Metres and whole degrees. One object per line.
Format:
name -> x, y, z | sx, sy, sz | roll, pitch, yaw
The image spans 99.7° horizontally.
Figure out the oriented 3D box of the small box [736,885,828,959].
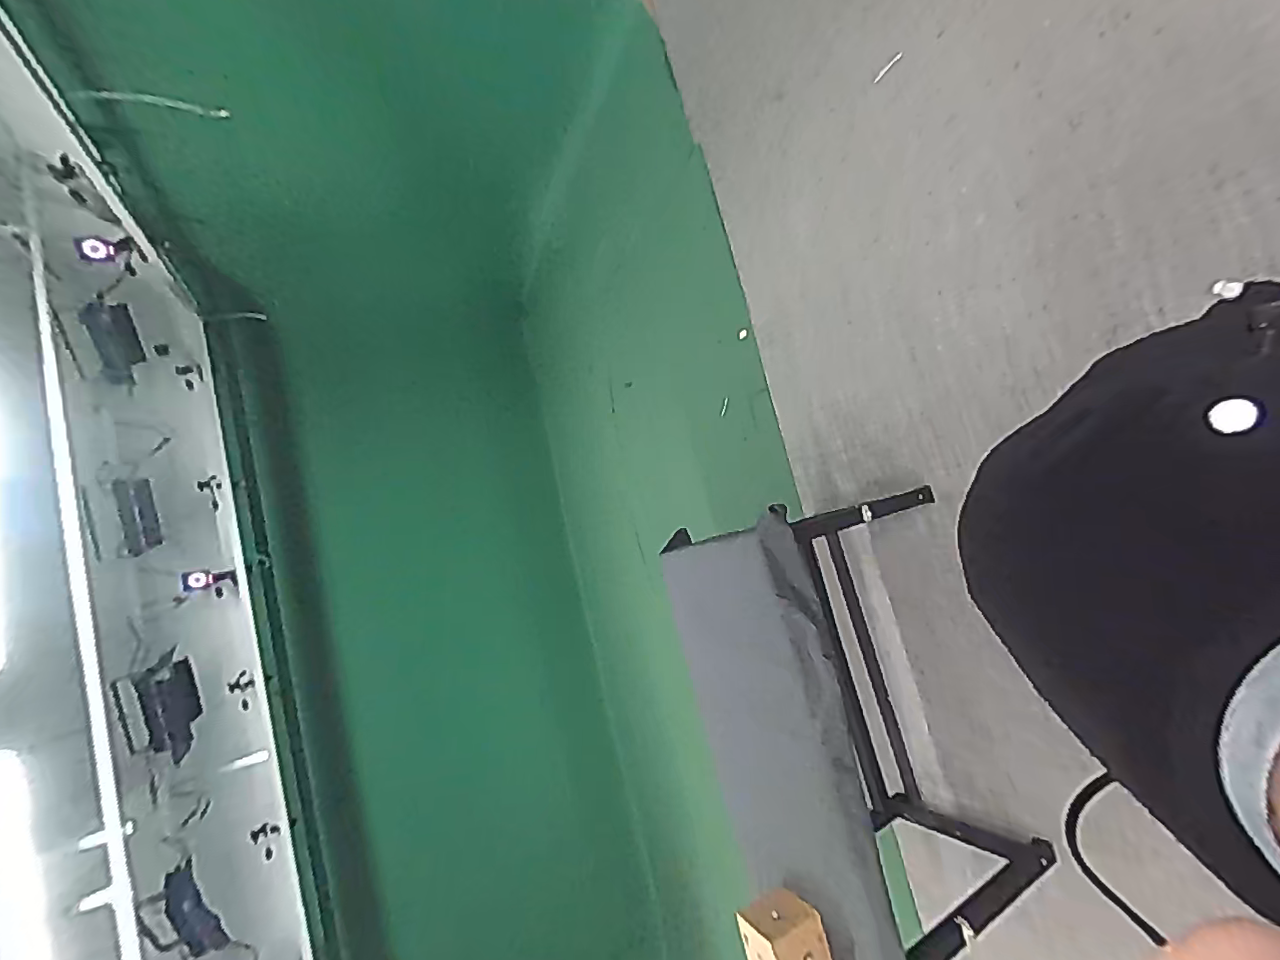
small box -> 0.405, 1.292, 1.521 | 0.179, 0.176, 0.168 | -29, 73, 62
